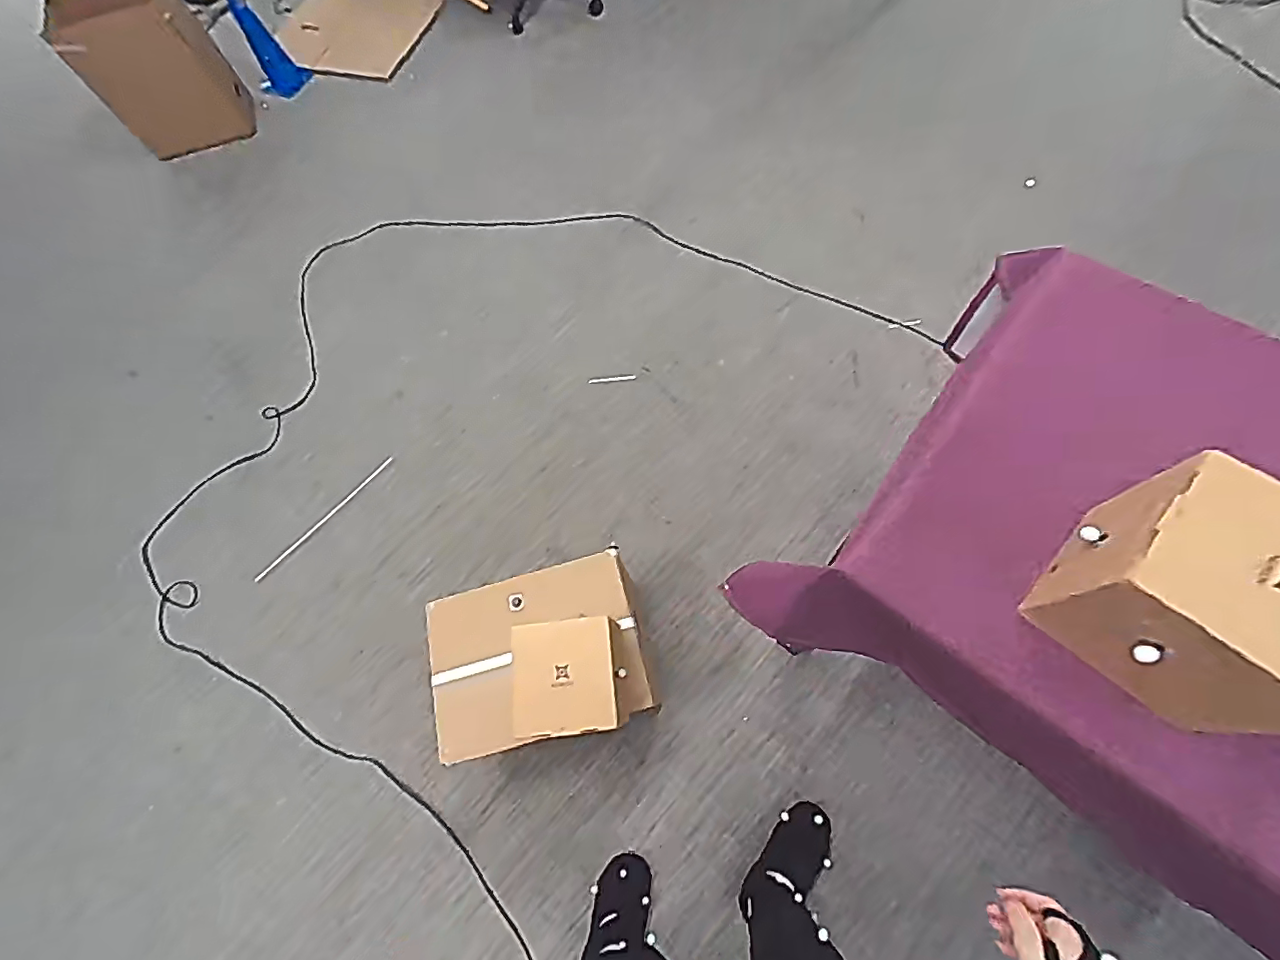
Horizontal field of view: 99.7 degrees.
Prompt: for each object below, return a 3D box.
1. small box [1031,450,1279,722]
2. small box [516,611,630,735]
[{"bbox_3d":[0.529,0.109,0.513,0.179,0.176,0.168,40,77,20],"label":"small box"},{"bbox_3d":[-0.112,0.333,0.942,0.168,0.176,0.179,-8,72,3],"label":"small box"}]
